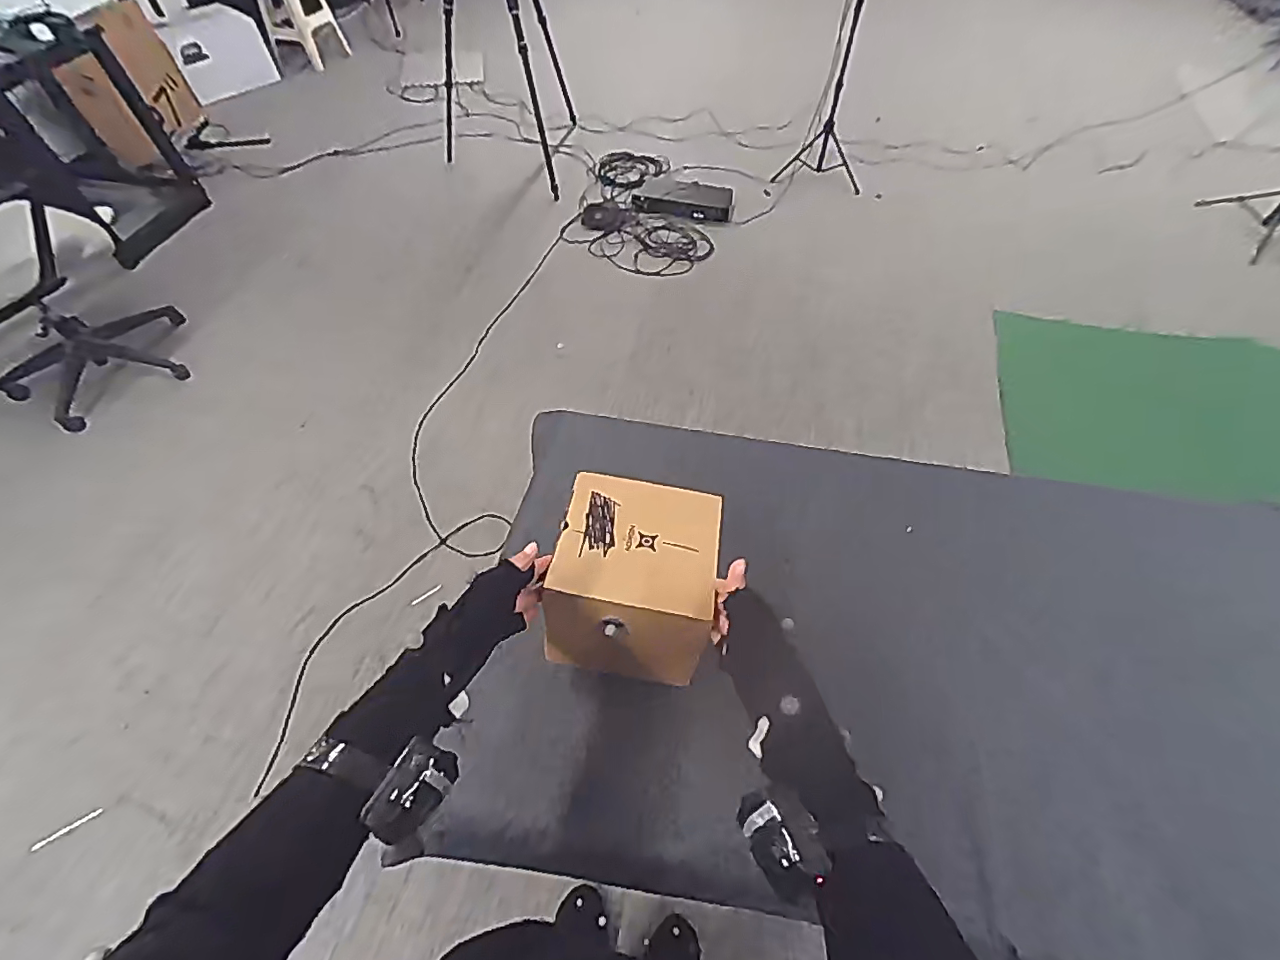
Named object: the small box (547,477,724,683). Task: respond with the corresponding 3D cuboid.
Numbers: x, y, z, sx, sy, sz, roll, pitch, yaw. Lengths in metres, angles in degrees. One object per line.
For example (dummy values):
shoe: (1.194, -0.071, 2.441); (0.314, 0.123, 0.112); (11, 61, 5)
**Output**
small box: (-0.004, 0.123, 0.646); (0.179, 0.176, 0.168); (10, 47, 2)
